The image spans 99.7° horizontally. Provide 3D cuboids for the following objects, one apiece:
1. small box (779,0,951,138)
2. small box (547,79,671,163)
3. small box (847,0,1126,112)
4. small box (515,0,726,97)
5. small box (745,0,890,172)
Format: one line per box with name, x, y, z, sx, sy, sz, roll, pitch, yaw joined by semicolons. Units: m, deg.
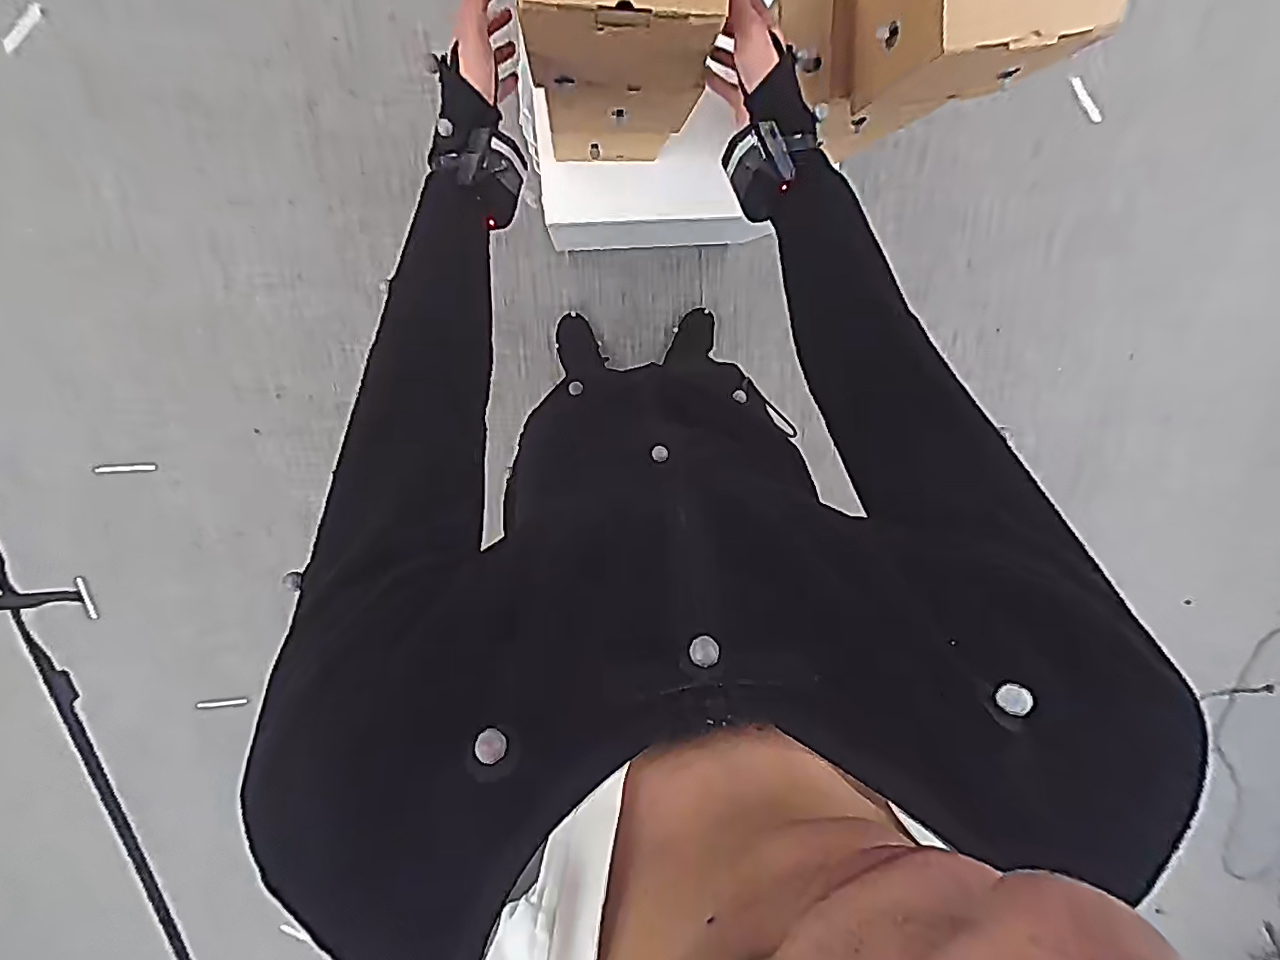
small box;0.275;-0.531;0.652;0.168;0.176;0.179;-6;109;-4
small box;-0.049;-0.570;0.777;0.168;0.176;0.179;-4;108;-6
small box;0.308;-0.470;0.503;0.168;0.176;0.179;-11;109;-3
small box;-0.019;-0.462;0.468;0.168;0.176;0.179;-1;107;-6
small box;0.258;-0.582;0.808;0.168;0.176;0.179;-6;109;-3
